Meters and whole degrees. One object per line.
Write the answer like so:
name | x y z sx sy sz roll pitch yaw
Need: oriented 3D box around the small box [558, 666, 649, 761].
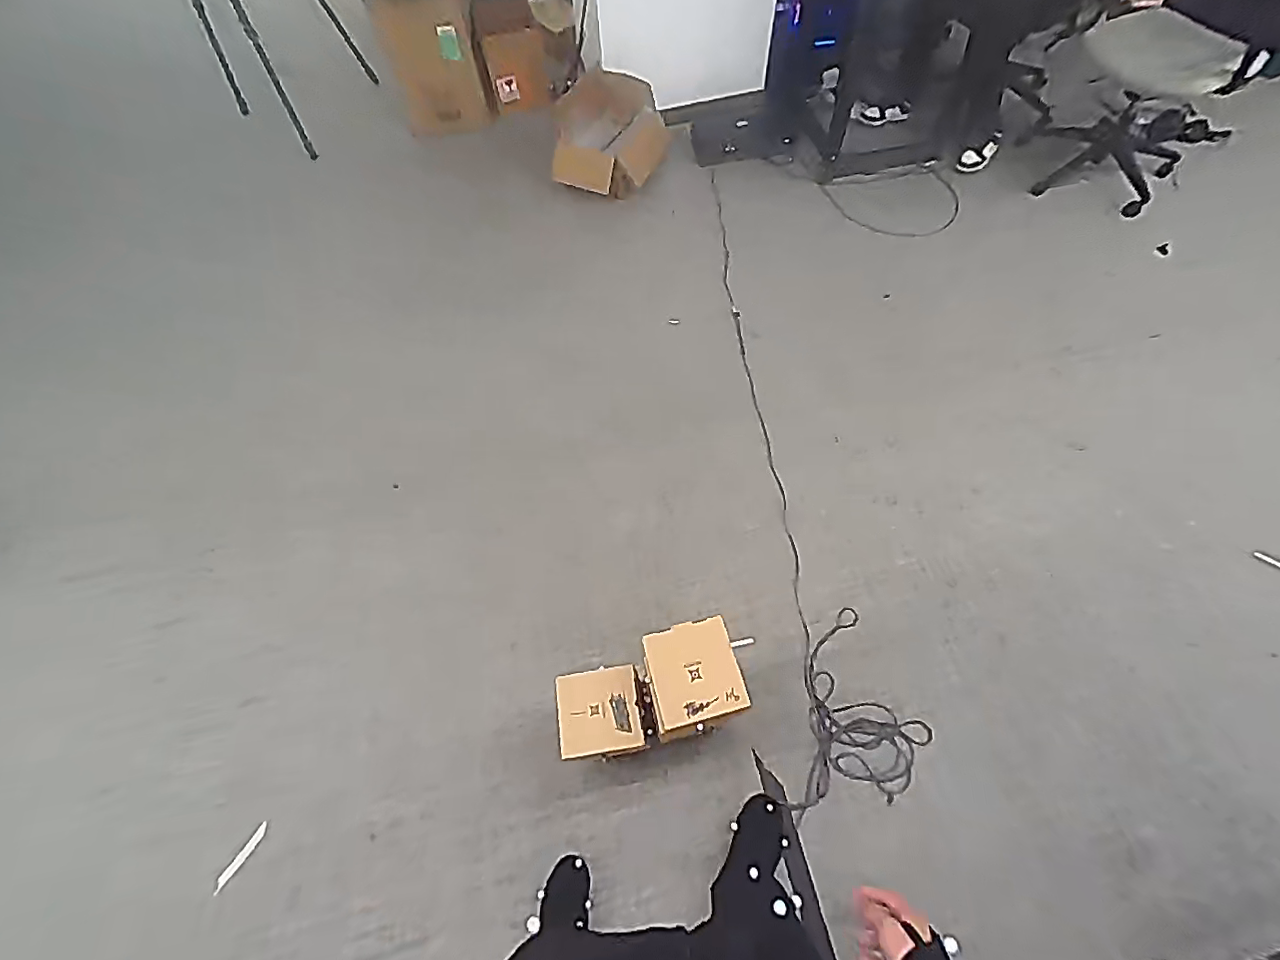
small box | -0.077 0.525 1.208 0.179 0.176 0.168 -10 61 1

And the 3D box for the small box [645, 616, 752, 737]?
small box | 0.110 0.395 1.077 0.168 0.176 0.179 -14 61 -3
